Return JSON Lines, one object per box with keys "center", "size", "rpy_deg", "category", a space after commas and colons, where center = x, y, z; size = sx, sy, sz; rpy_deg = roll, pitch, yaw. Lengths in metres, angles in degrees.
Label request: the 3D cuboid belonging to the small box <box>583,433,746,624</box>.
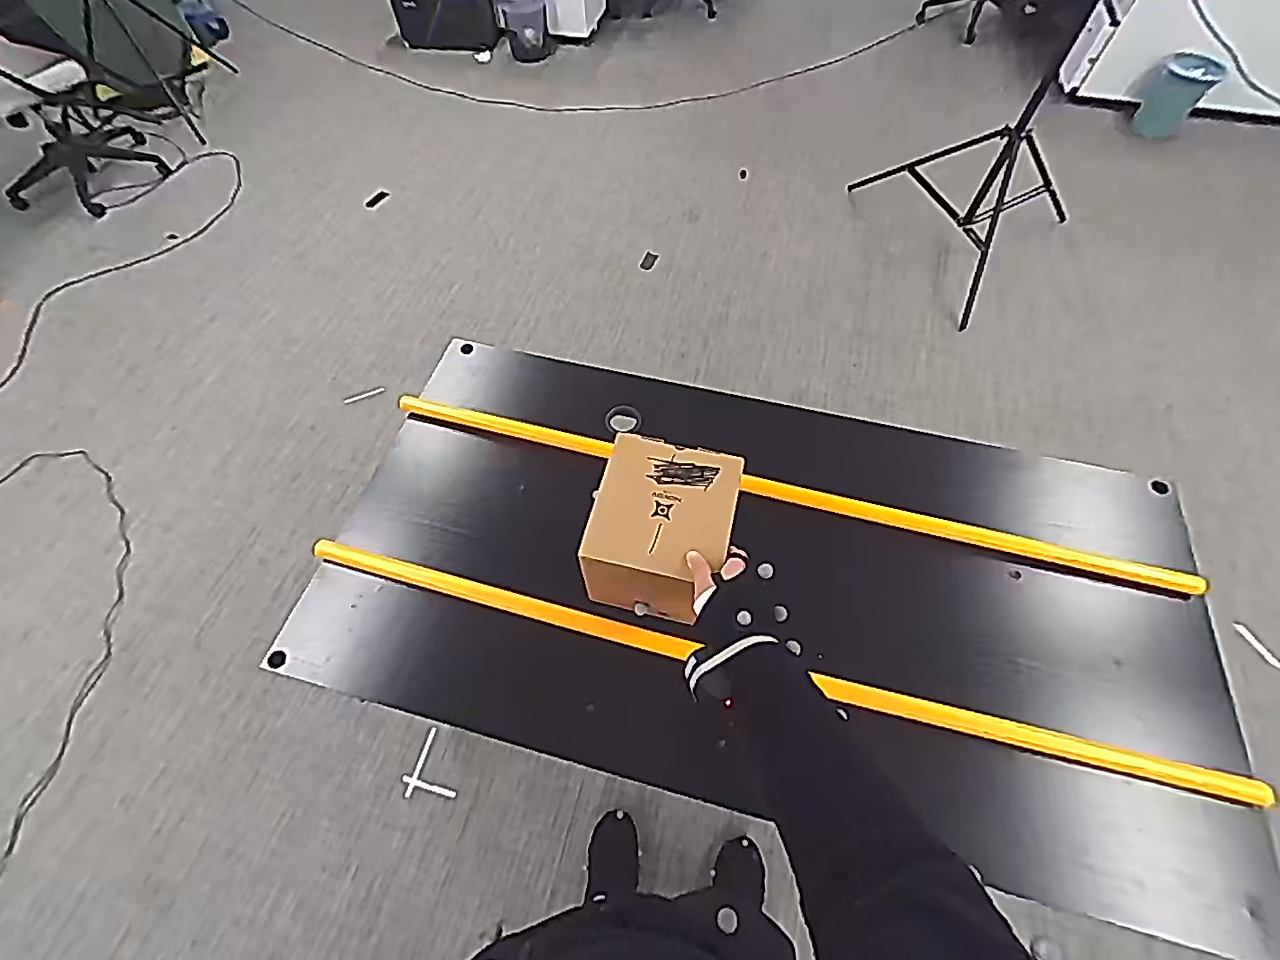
{"center": [0.033, 0.068, 0.713], "size": [0.168, 0.176, 0.179], "rpy_deg": [12, 61, 8], "category": "small box"}
